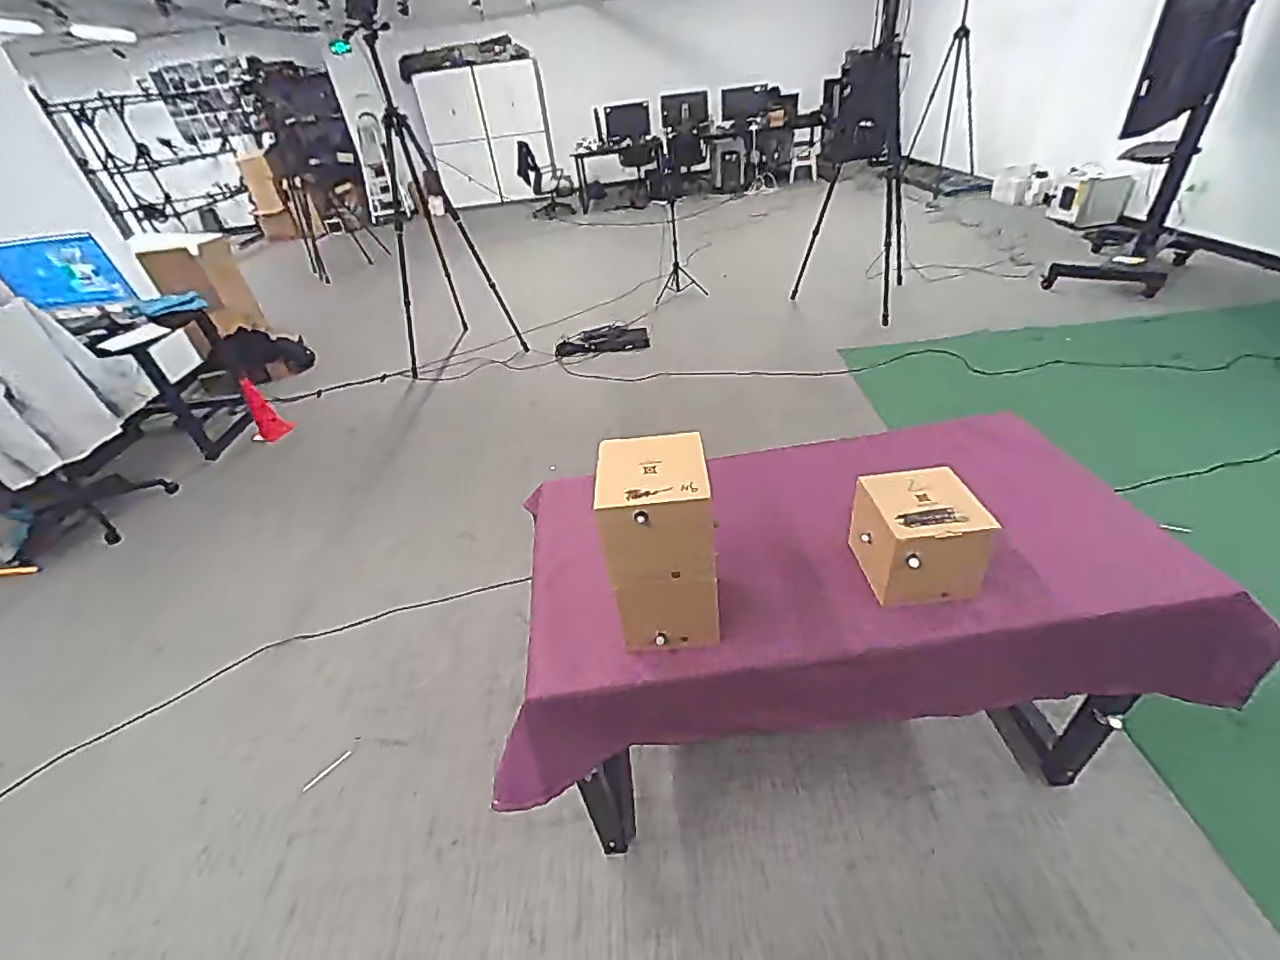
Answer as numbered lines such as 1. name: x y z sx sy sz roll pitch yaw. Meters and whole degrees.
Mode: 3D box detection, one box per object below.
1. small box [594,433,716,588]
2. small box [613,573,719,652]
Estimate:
1. small box: 0.028 0.048 0.860 0.168 0.176 0.179 -7 36 5
2. small box: 0.049 0.179 0.959 0.168 0.176 0.179 -6 37 5
